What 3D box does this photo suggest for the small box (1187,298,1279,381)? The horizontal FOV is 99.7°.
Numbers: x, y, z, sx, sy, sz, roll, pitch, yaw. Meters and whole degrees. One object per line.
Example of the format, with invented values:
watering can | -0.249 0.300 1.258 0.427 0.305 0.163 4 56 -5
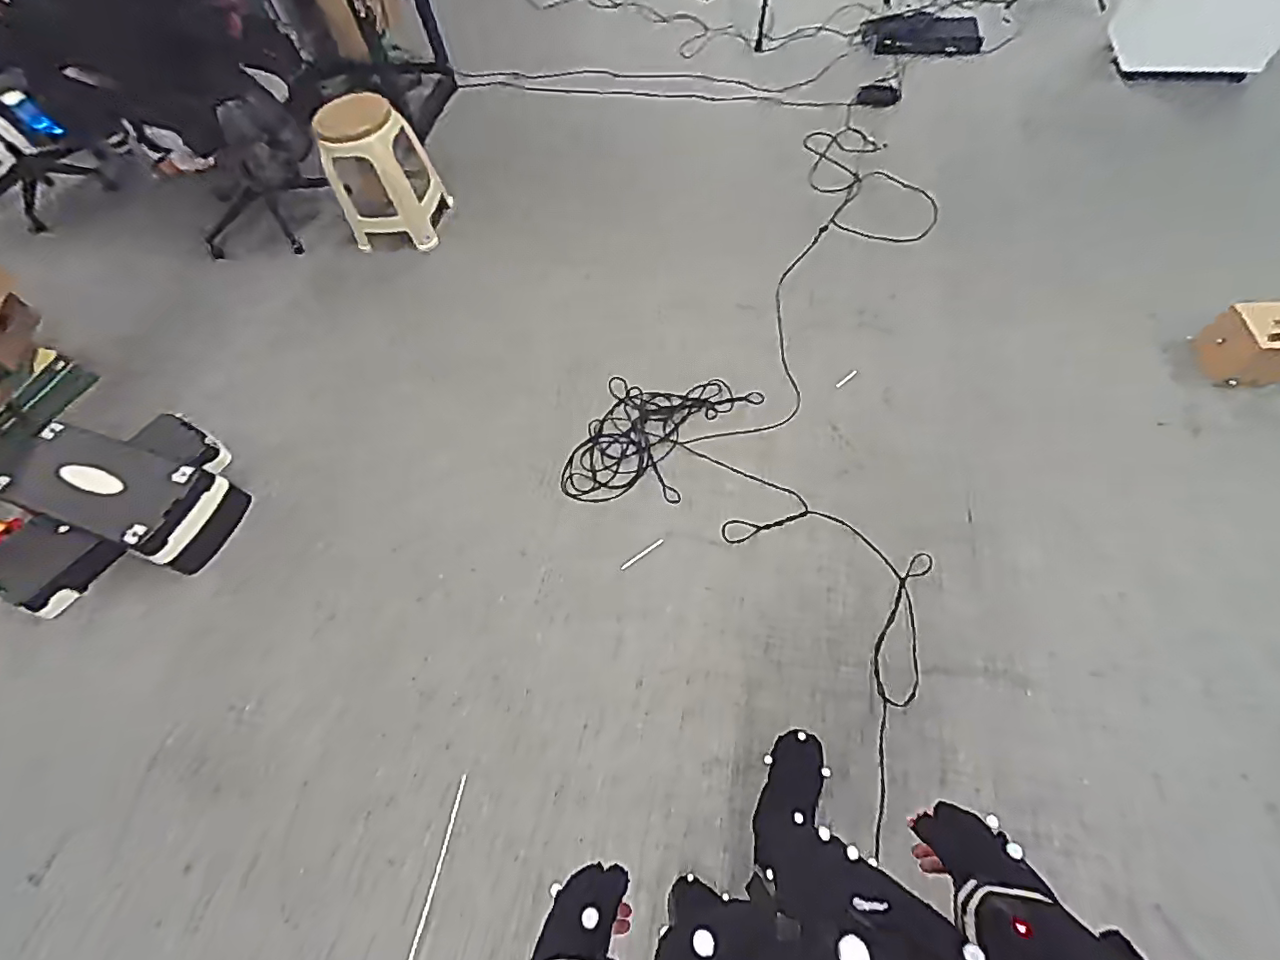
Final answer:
small box | 1.776 -0.403 1.575 0.168 0.176 0.179 0 61 6
